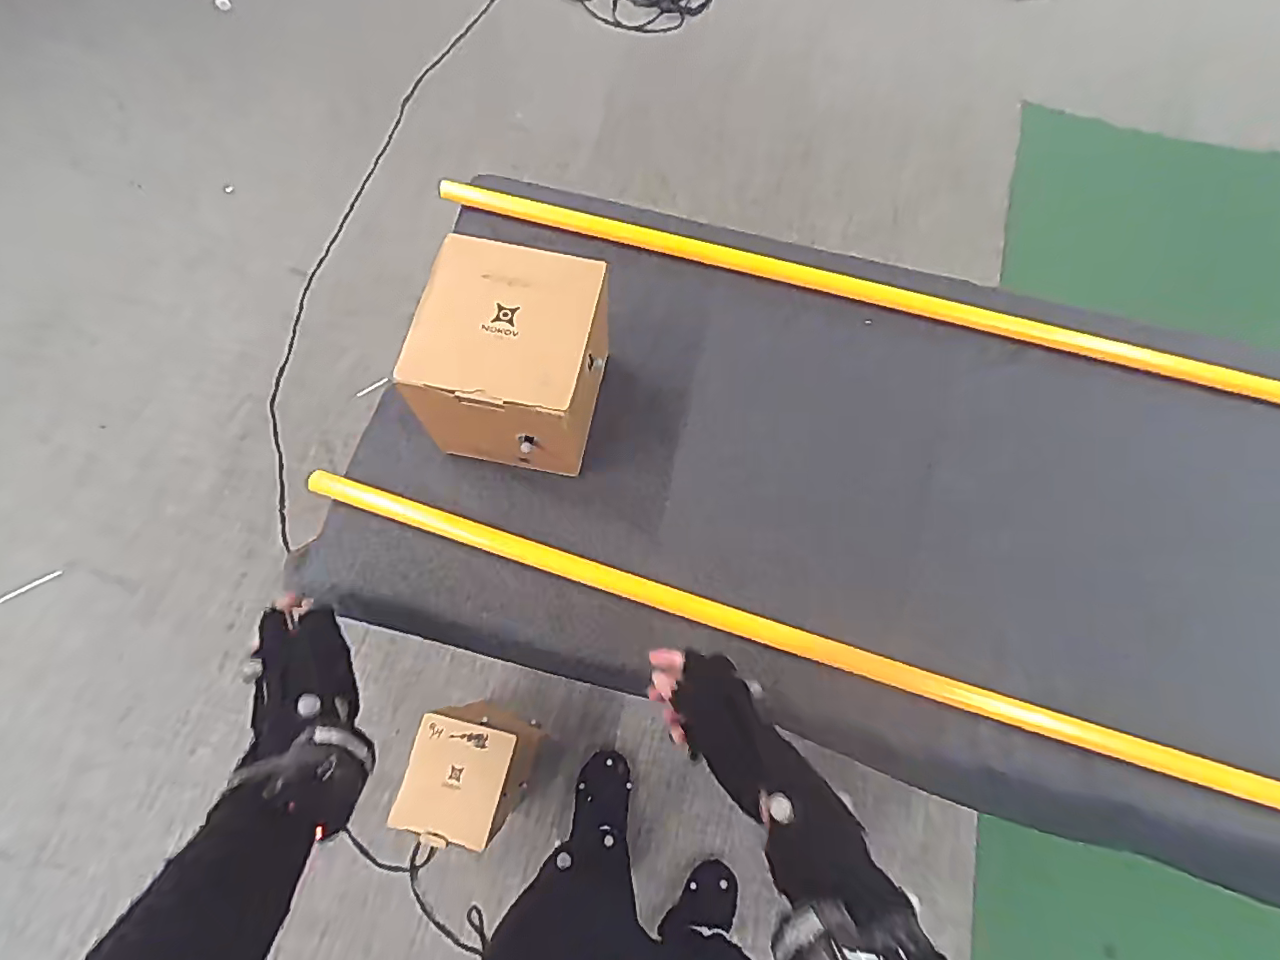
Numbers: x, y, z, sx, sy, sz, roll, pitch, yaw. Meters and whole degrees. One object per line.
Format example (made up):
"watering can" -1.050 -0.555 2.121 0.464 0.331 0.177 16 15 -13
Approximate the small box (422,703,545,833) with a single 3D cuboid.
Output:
"small box" -0.308 0.577 1.112 0.168 0.176 0.179 22 72 6

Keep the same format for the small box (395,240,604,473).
"small box" -0.134 -0.123 0.594 0.168 0.176 0.179 11 69 0
